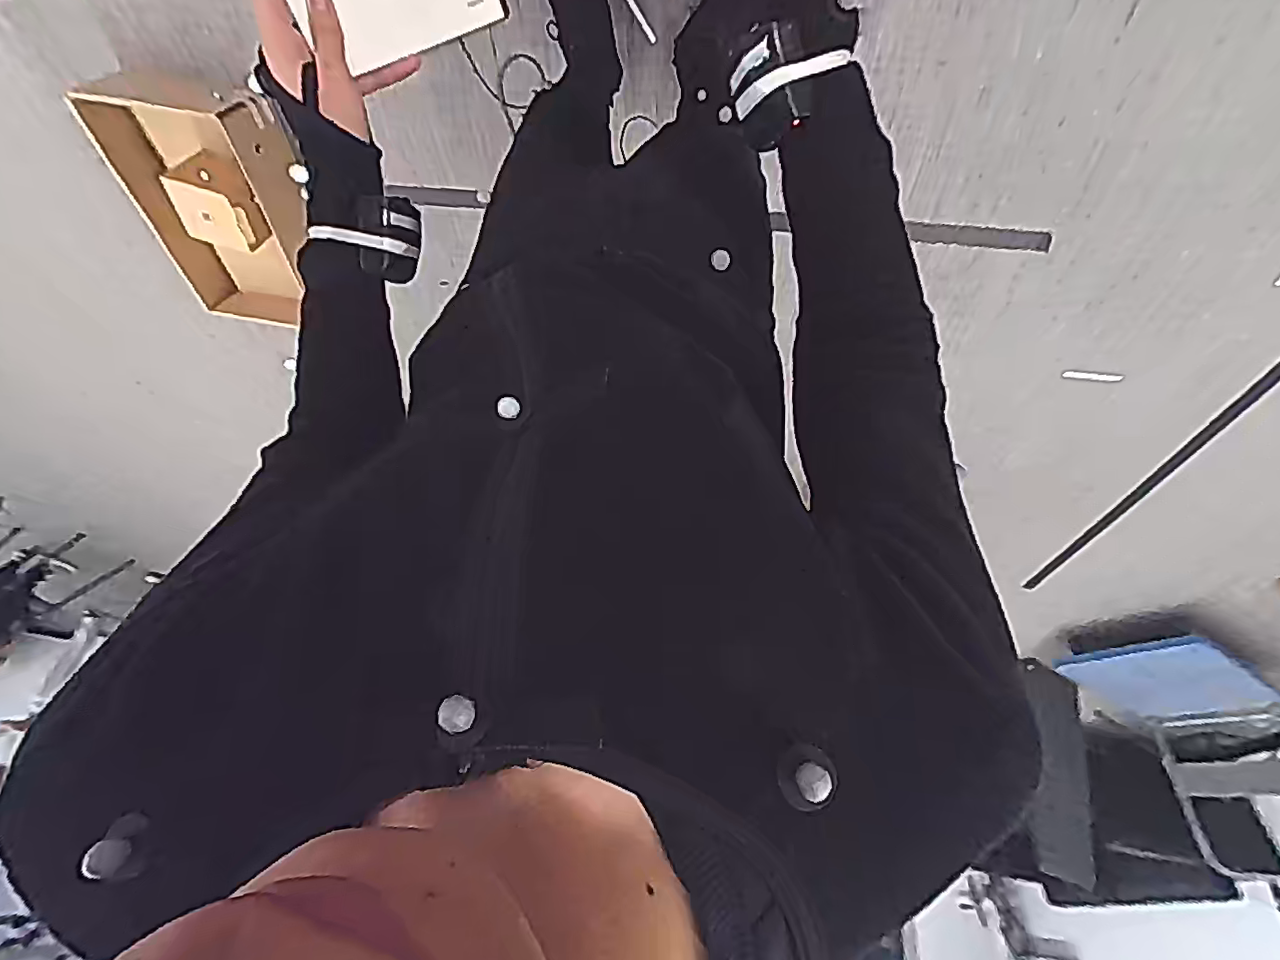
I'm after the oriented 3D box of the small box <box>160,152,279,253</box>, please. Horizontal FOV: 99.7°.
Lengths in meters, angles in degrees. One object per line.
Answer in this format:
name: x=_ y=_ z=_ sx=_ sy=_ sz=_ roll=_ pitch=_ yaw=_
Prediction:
small box: x=-1.120 y=-0.755 z=1.464 sx=0.179 sy=0.176 sz=0.168 roll=15 pitch=143 yaw=-4
